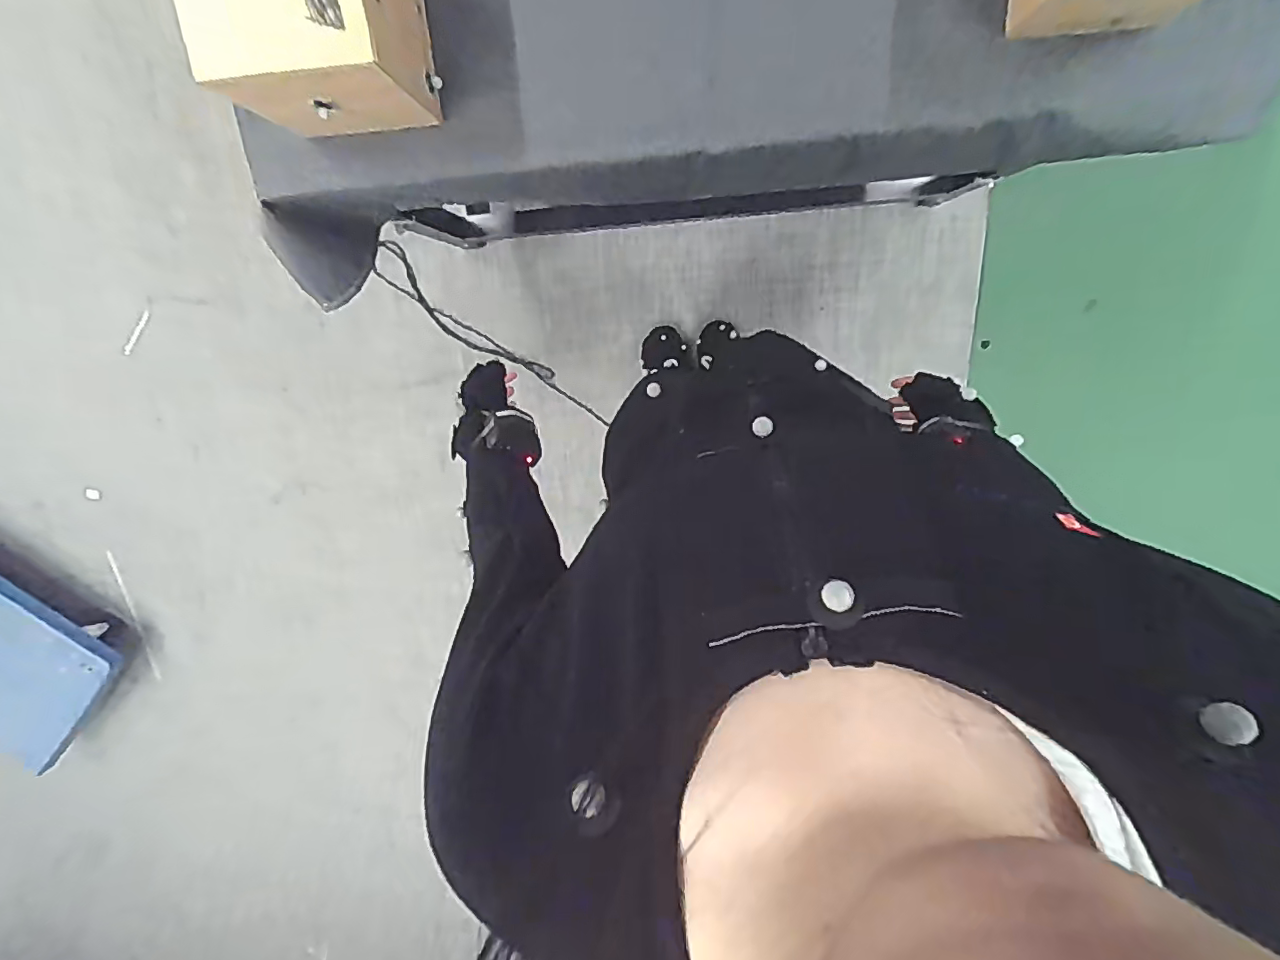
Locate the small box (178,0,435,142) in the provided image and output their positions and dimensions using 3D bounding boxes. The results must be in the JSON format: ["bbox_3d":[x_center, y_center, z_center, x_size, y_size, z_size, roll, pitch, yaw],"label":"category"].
[{"bbox_3d":[-0.328,-0.470,0.555,0.179,0.176,0.168,-4,106,3],"label":"small box"}]
